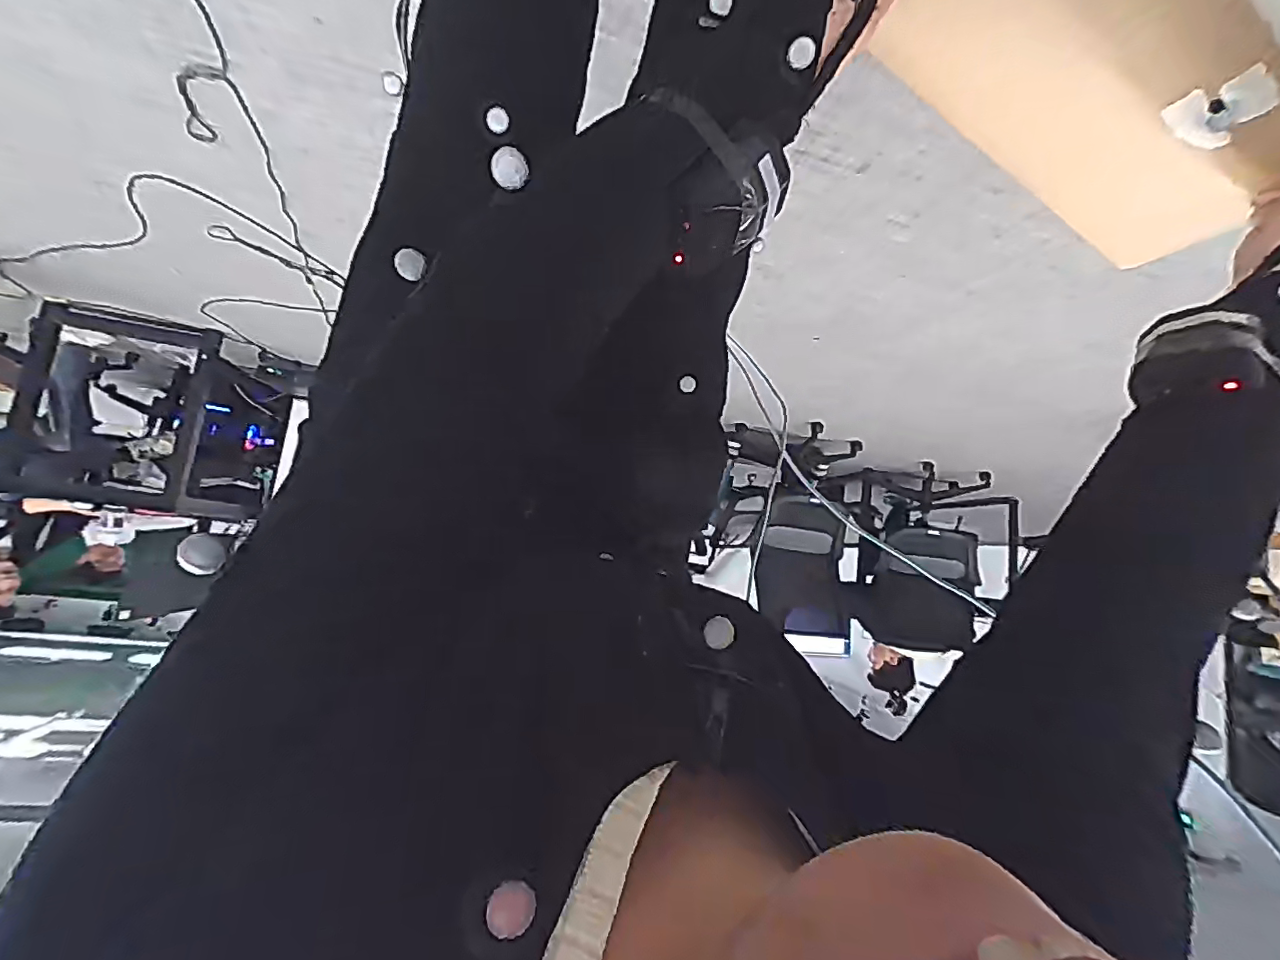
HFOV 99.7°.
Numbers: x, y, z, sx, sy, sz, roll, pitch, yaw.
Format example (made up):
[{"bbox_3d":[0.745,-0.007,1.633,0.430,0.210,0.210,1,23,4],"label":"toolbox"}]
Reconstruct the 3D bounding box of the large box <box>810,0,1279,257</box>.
[{"bbox_3d":[0.373,-0.423,0.335,0.408,0.320,0.320,16,166,-24],"label":"large box"}]
